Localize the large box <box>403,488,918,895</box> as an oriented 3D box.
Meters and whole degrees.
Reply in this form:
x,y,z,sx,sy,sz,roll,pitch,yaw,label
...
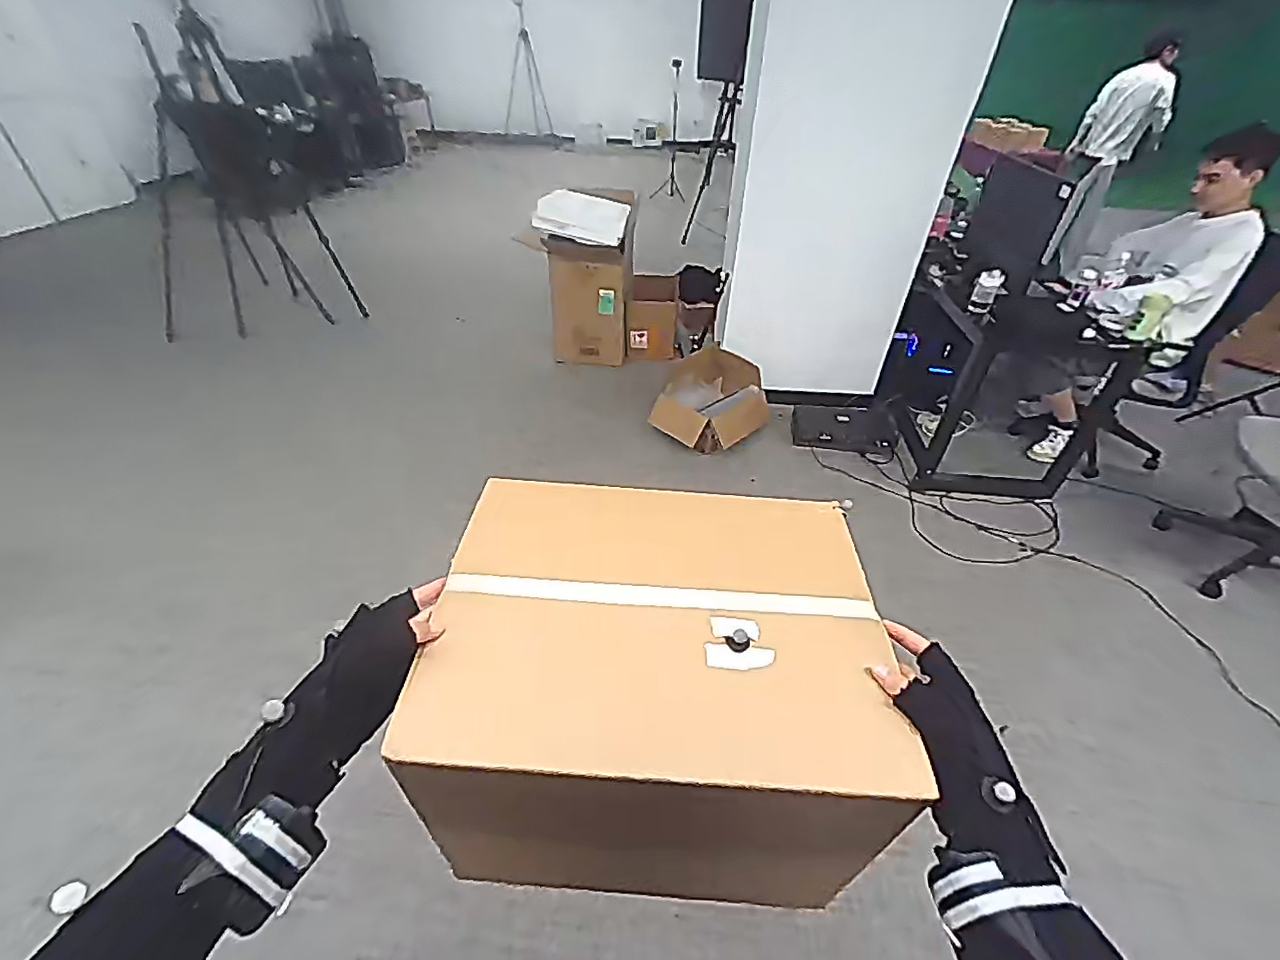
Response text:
x,y,z,sx,sy,sz,roll,pitch,yaw,label
0.012,0.234,0.615,0.408,0.320,0.320,5,40,0,large box
